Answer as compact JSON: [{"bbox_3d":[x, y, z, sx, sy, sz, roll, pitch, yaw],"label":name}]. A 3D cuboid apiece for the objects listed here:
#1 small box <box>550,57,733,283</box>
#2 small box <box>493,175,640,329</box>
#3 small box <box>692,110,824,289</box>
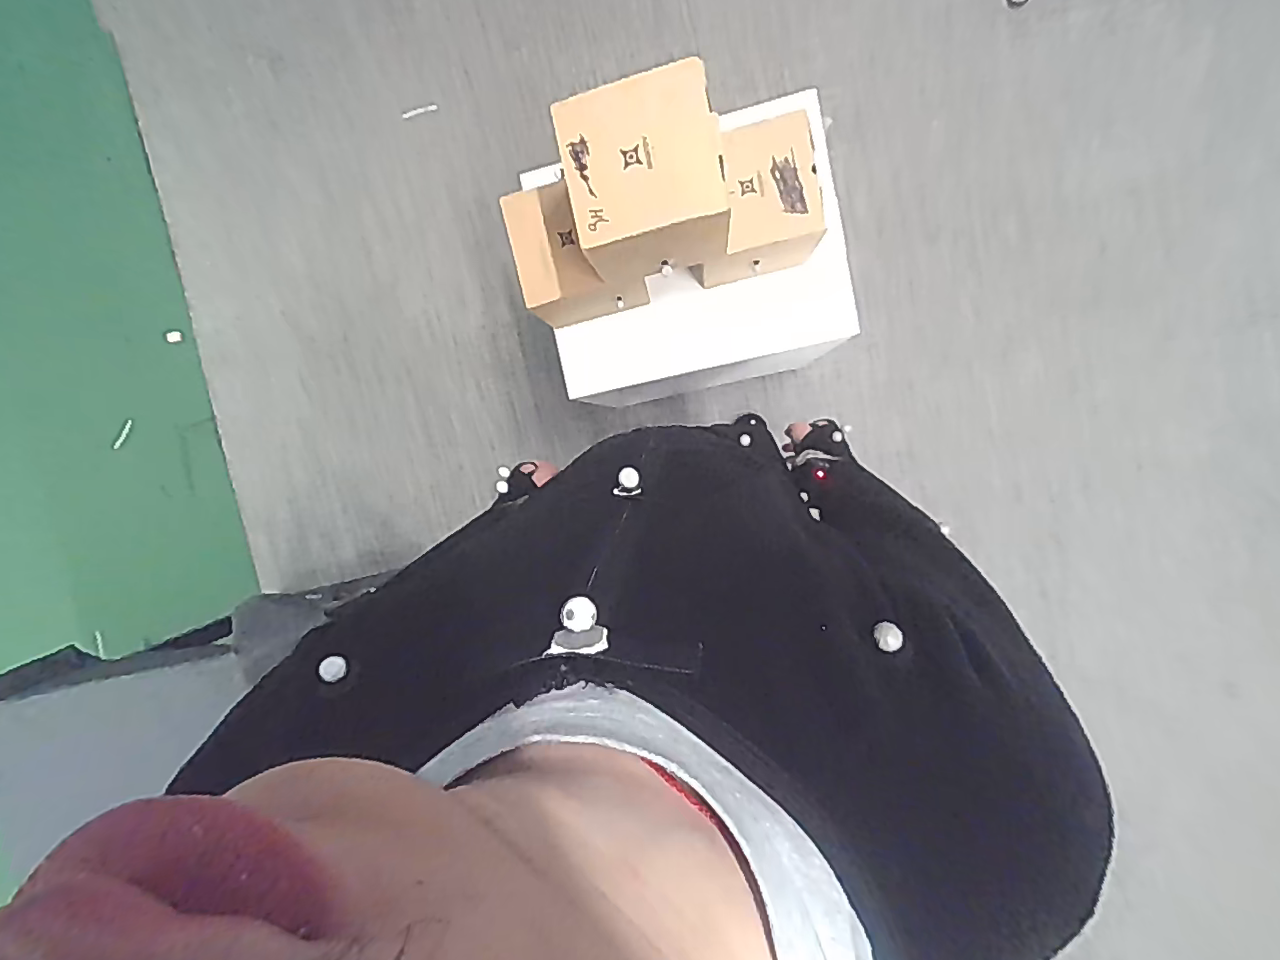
[{"bbox_3d":[0.007,-0.361,0.665,0.179,0.176,0.168,-12,94,6],"label":"small box"},{"bbox_3d":[-0.101,-0.349,0.841,0.179,0.176,0.168,-14,93,6],"label":"small box"},{"bbox_3d":[0.157,-0.405,0.811,0.179,0.176,0.168,-12,94,7],"label":"small box"}]
